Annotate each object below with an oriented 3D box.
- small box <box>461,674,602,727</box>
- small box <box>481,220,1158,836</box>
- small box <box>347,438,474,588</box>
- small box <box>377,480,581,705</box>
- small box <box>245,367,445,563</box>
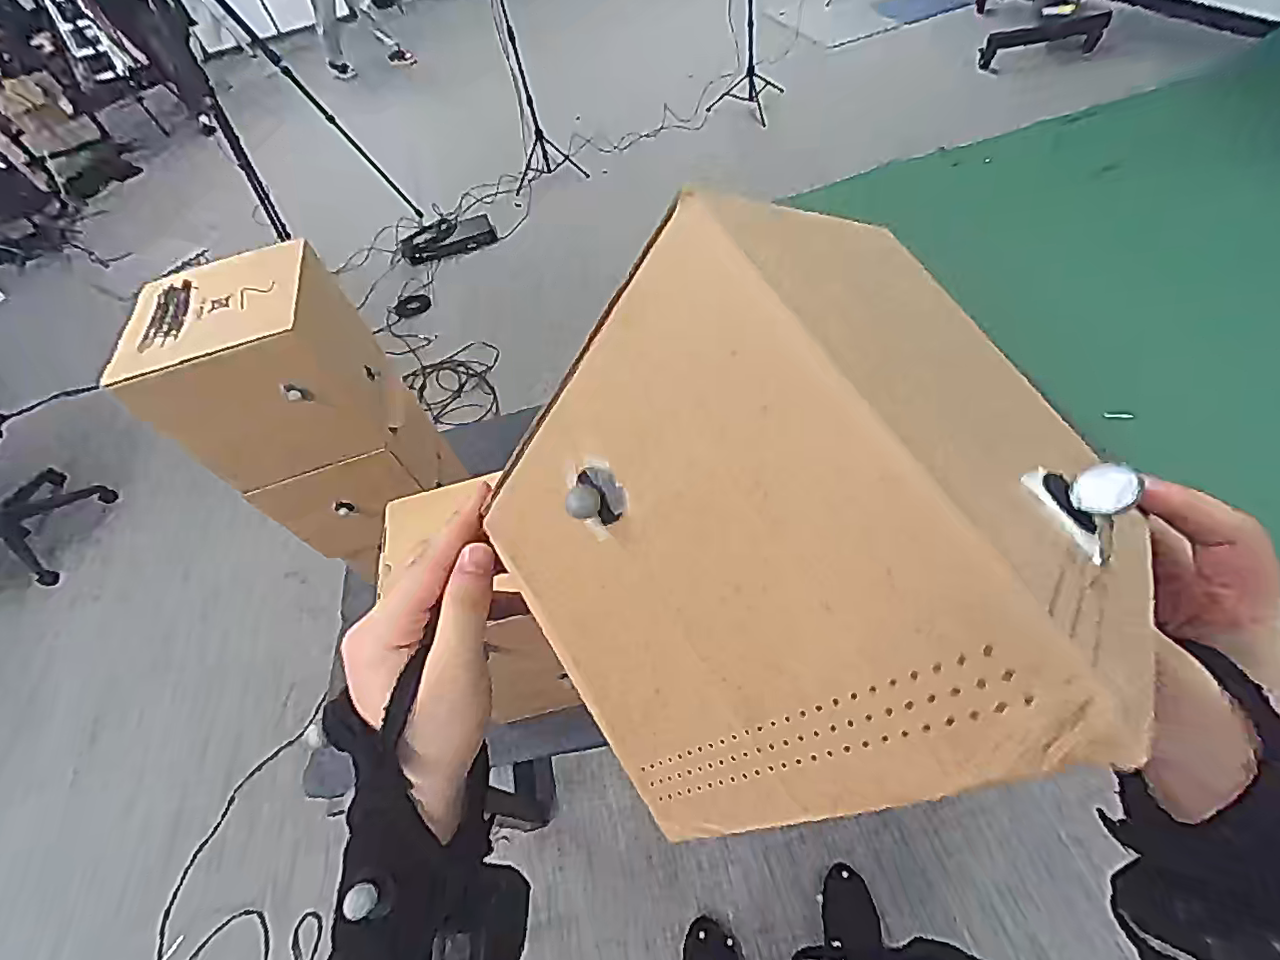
[{"bbox_3d":[-0.129,0.207,0.713,0.179,0.176,0.168,-15,52,1],"label":"small box"},{"bbox_3d":[0.064,0.021,0.236,0.168,0.179,0.176,-24,75,-45],"label":"small box"},{"bbox_3d":[-0.353,0.068,0.866,0.168,0.176,0.179,-19,53,-3],"label":"small box"},{"bbox_3d":[-0.147,0.120,0.576,0.179,0.176,0.168,-16,53,1],"label":"small box"},{"bbox_3d":[-0.374,-0.015,0.724,0.179,0.176,0.168,-19,54,-2],"label":"small box"}]
